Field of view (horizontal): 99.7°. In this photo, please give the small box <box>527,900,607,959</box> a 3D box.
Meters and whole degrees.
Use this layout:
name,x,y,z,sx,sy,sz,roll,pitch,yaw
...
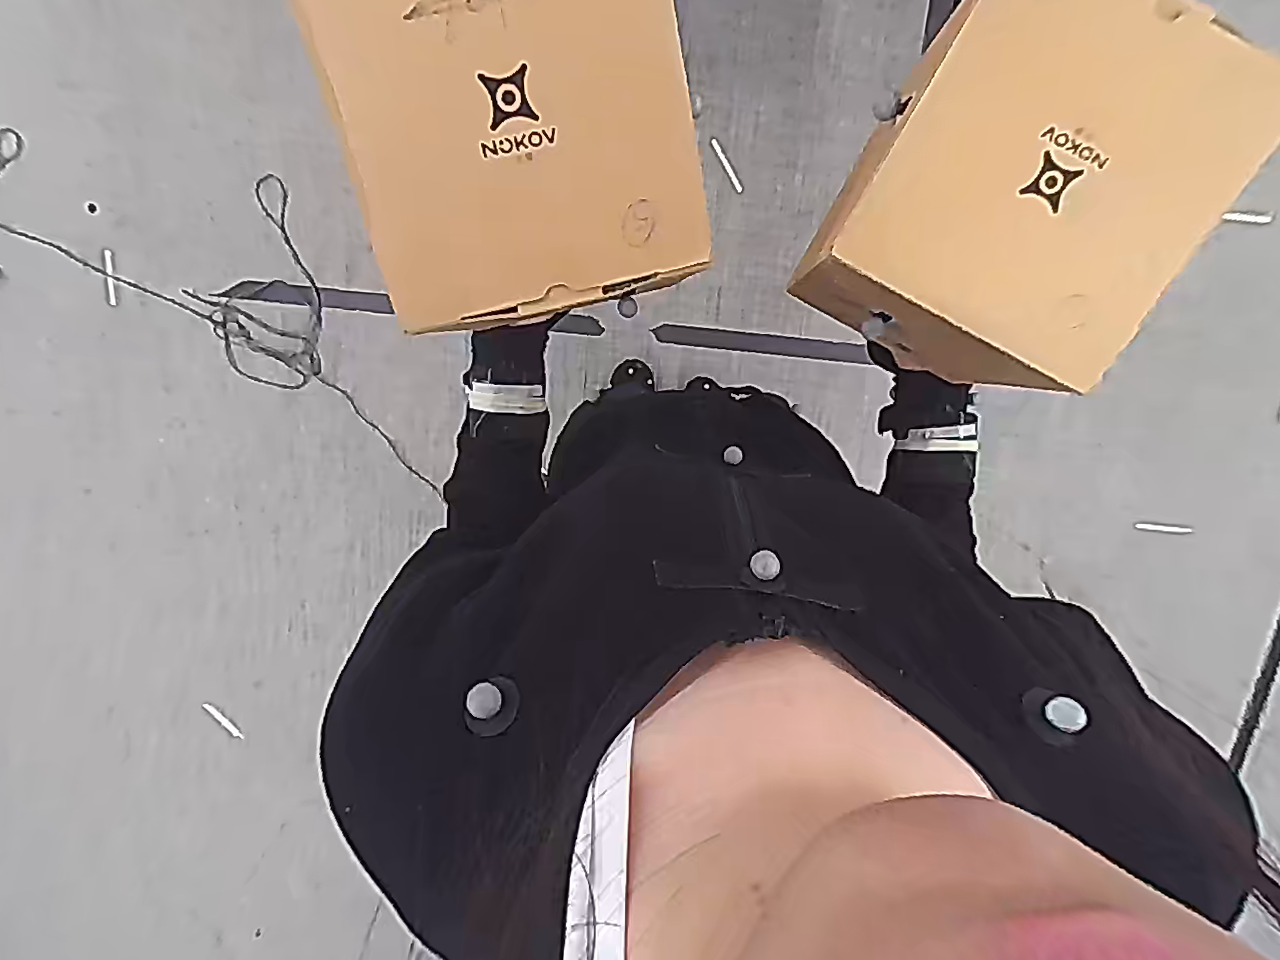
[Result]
name,x,y,z,sx,sy,sz,roll,pitch,yaw
small box,-0.168,1.072,1.185,0.168,0.176,0.179,10,101,0

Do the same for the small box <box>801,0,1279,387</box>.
name,x,y,z,sx,sy,sz,roll,pitch,yaw
small box,0.225,-0.178,0.358,0.168,0.176,0.179,29,103,0

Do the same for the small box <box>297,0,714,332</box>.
name,x,y,z,sx,sy,sz,roll,pitch,yaw
small box,-0.062,-0.197,0.327,0.168,0.176,0.179,-14,106,0
